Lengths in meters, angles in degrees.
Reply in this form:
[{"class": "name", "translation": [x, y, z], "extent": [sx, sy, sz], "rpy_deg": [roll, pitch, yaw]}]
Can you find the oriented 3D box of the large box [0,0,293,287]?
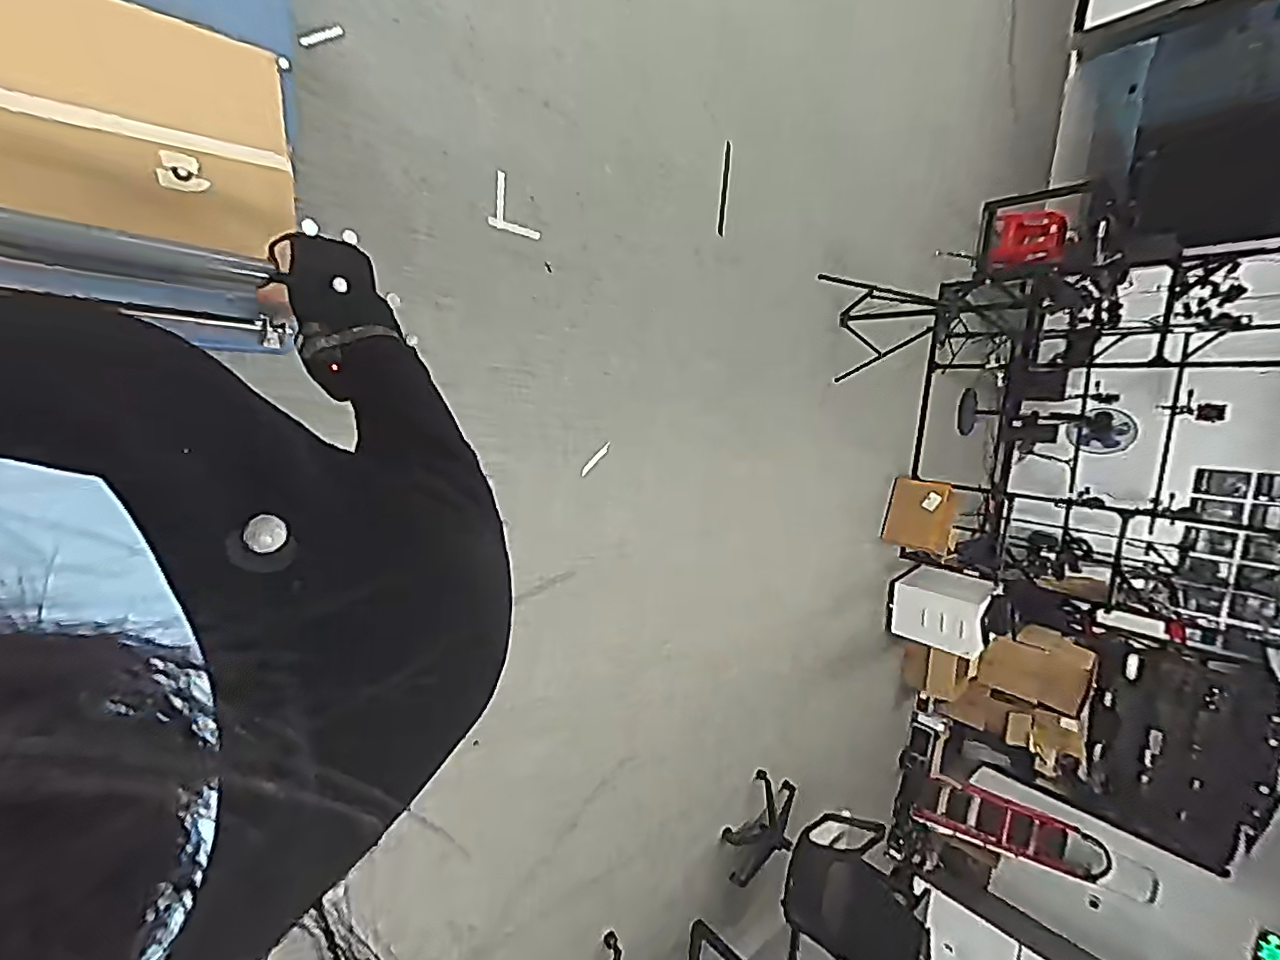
[{"class": "large box", "translation": [-0.812, -0.491, 0.821], "extent": [0.408, 0.320, 0.320], "rpy_deg": [-10, 106, -44]}]
